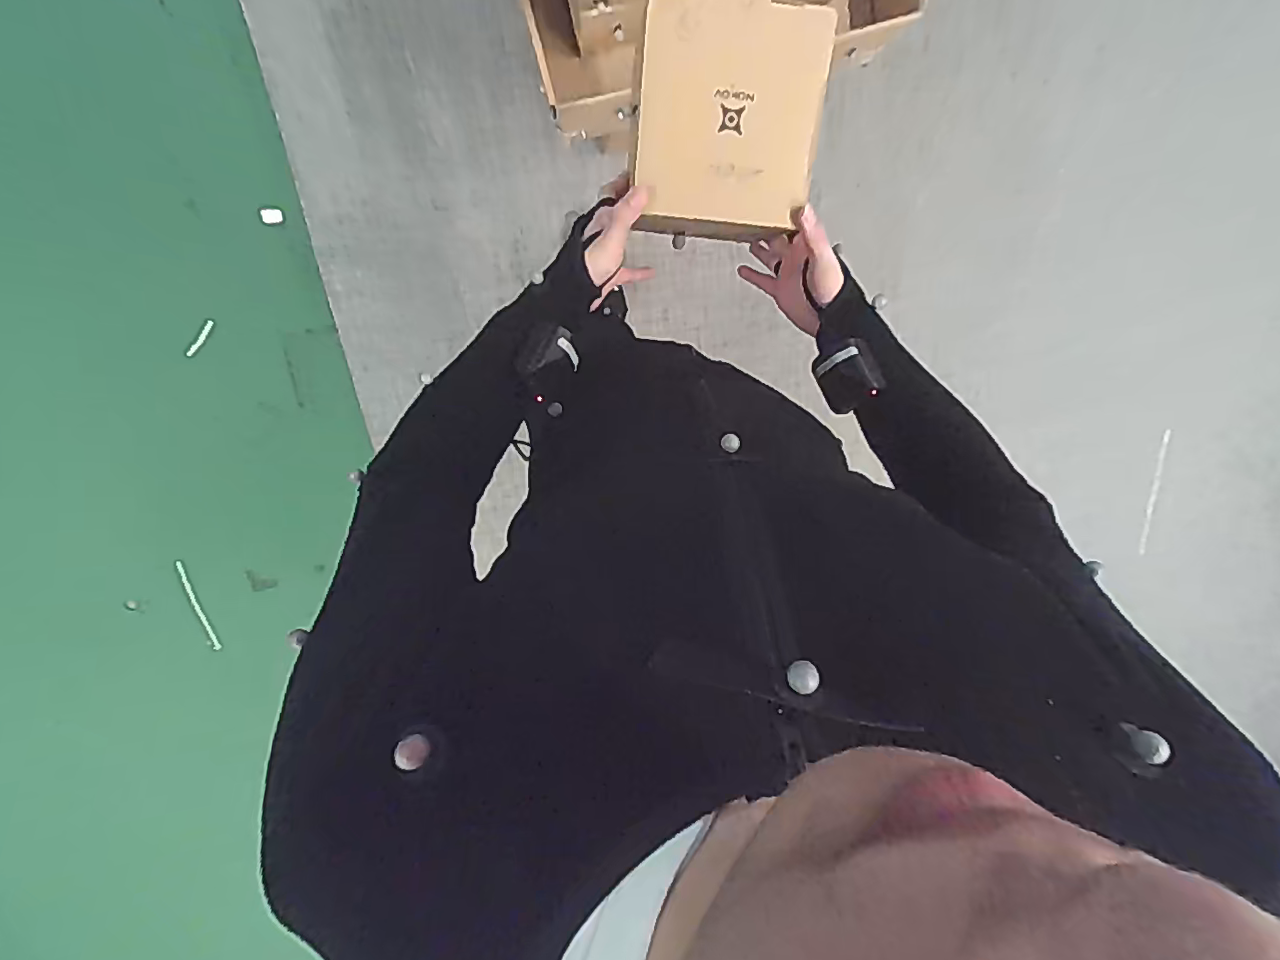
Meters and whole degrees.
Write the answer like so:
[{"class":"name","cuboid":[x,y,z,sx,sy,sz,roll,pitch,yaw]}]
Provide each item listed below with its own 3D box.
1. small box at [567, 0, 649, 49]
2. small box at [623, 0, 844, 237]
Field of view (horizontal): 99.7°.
[{"class":"small box","cuboid":[-0.033,-0.790,0.815,0.168,0.176,0.179,-15,111,-1]},{"class":"small box","cuboid":[0.074,-0.352,0.539,0.168,0.176,0.179,3,110,-7]}]
